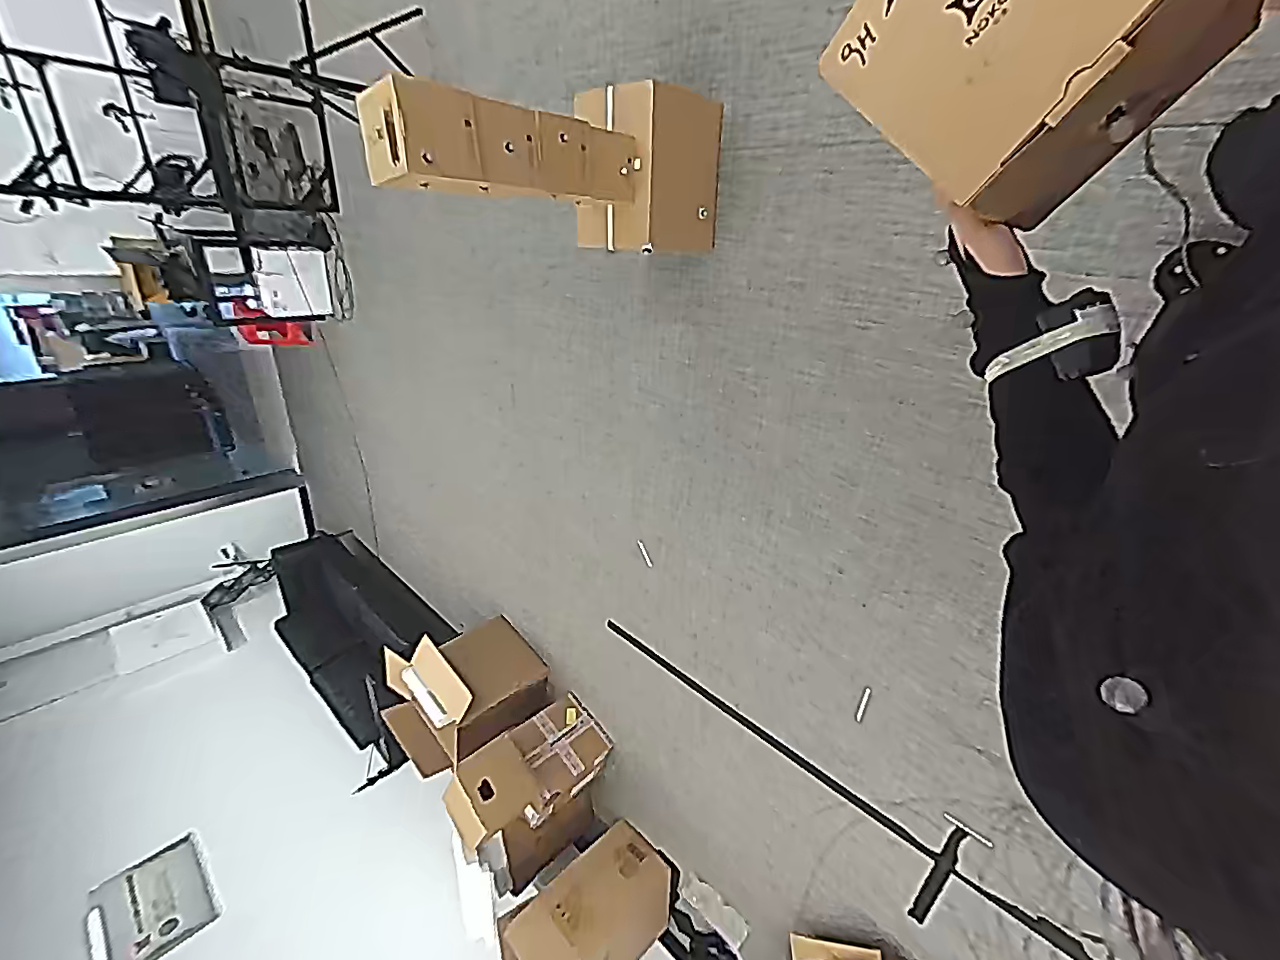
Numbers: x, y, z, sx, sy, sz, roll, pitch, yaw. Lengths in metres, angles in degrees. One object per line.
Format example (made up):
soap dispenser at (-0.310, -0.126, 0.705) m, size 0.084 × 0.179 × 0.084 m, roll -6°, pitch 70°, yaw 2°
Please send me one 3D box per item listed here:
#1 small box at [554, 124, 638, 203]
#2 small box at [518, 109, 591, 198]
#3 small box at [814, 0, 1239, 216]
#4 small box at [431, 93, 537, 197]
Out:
small box at (-0.127, -0.848, 1.464) m, size 0.179 × 0.176 × 0.168 m, roll 21°, pitch 121°, yaw 38°
small box at (-0.234, -0.805, 1.349) m, size 0.179 × 0.176 × 0.168 m, roll 20°, pitch 119°, yaw 40°
small box at (0.274, -0.318, 0.394) m, size 0.179 × 0.176 × 0.168 m, roll 59°, pitch 138°, yaw 18°
small box at (-0.349, -0.757, 1.242) m, size 0.179 × 0.176 × 0.168 m, roll 15°, pitch 115°, yaw 41°
